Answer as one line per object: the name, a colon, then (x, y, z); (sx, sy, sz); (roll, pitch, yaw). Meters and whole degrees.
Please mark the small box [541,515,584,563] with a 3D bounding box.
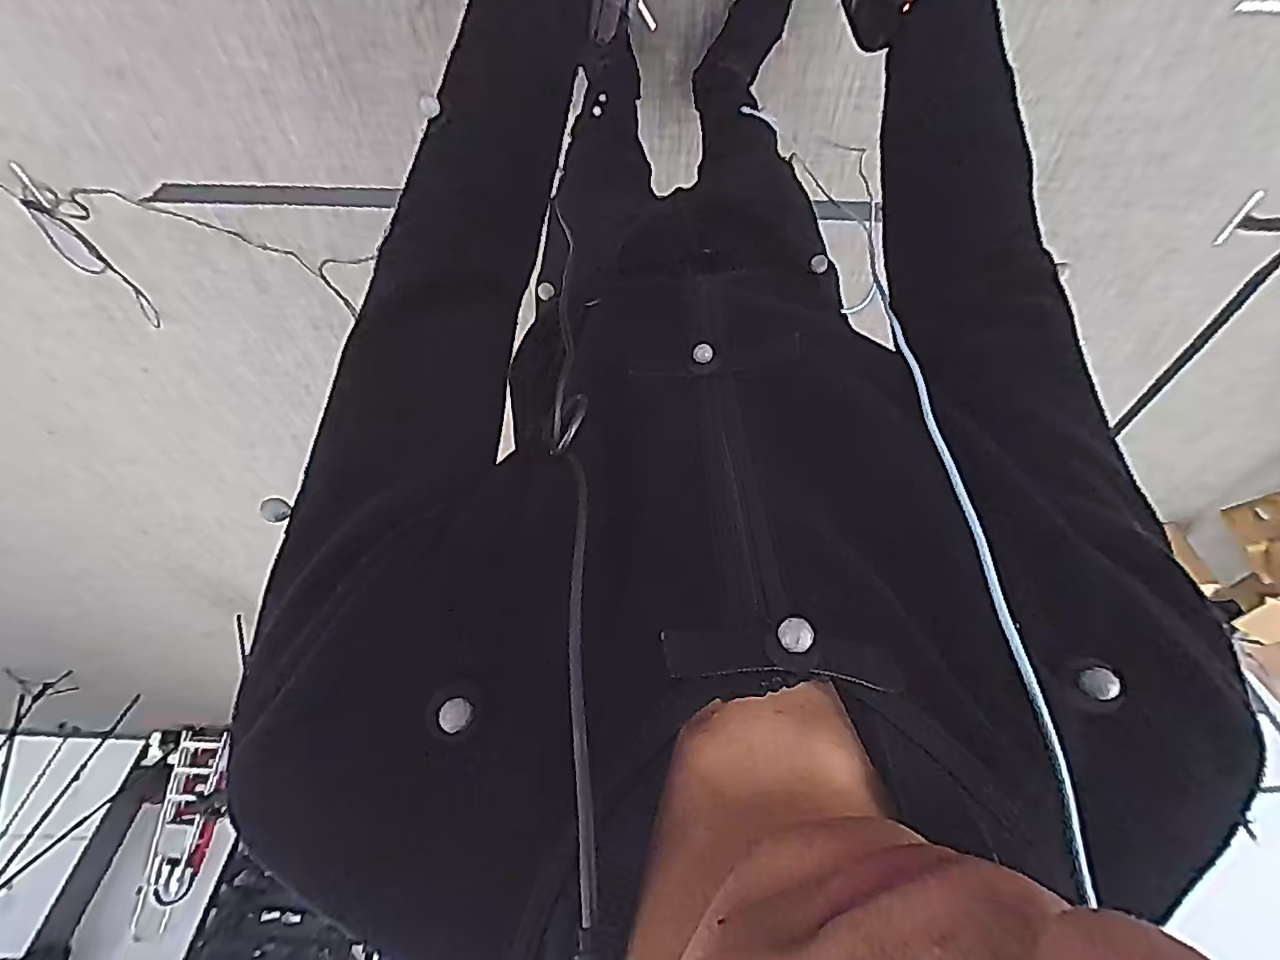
small box: (-0.355, 0.273, 2.521); (0.179, 0.176, 0.168); (1, 141, 3)
